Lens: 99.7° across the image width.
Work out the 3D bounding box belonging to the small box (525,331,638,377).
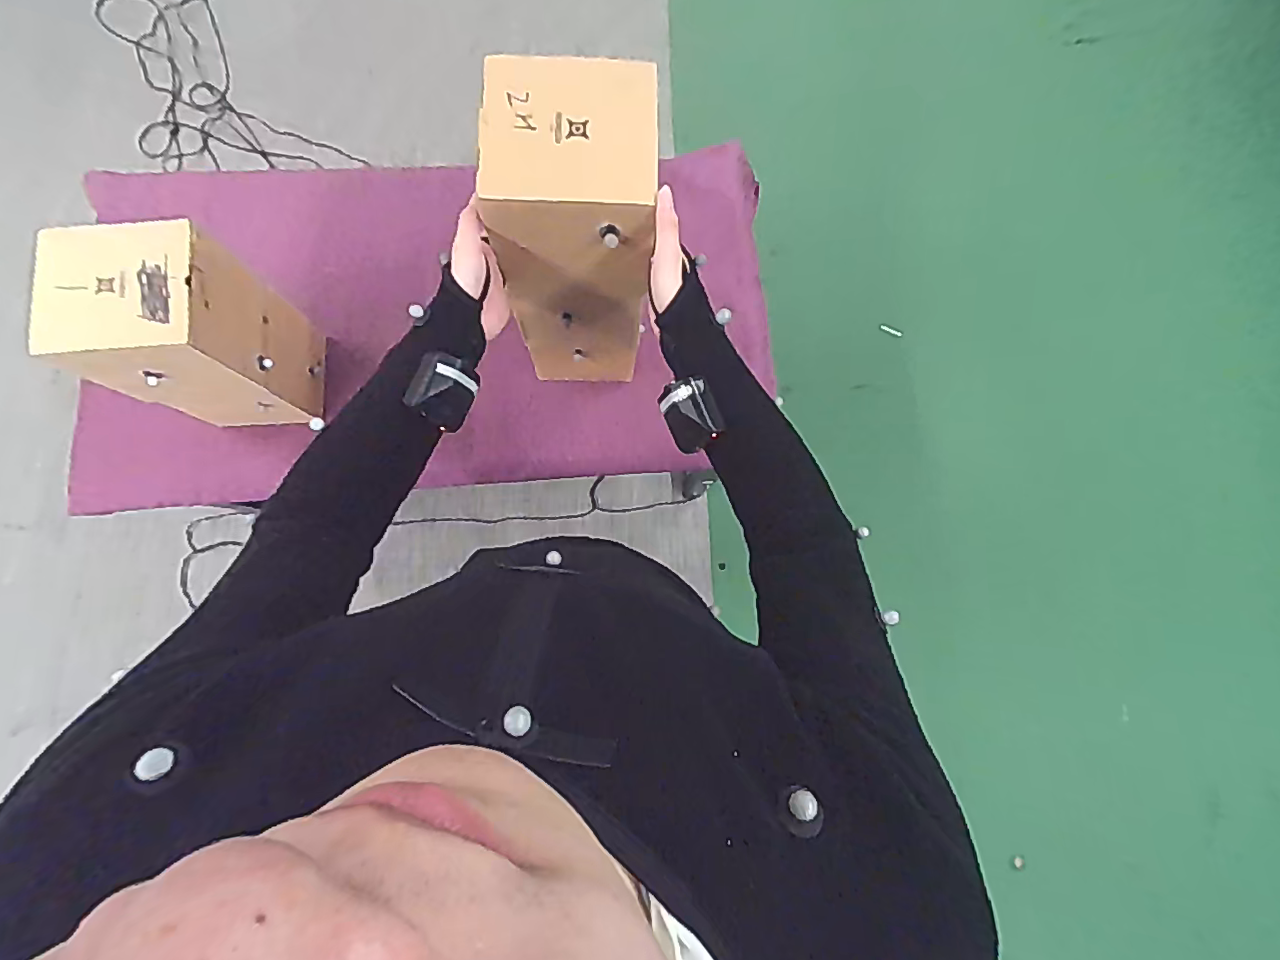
[{"bbox_3d":[-0.096,-0.283,0.927,0.179,0.176,0.168,1,80,-3],"label":"small box"}]

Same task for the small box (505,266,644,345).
[{"bbox_3d":[-0.084,-0.300,0.764,0.179,0.176,0.168,1,81,-3],"label":"small box"}]

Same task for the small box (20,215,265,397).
[{"bbox_3d":[-0.623,-0.216,0.703,0.179,0.176,0.168,-6,80,-6],"label":"small box"}]

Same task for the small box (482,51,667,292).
[{"bbox_3d":[-0.066,-0.326,0.602,0.179,0.176,0.168,0,79,-3],"label":"small box"}]
